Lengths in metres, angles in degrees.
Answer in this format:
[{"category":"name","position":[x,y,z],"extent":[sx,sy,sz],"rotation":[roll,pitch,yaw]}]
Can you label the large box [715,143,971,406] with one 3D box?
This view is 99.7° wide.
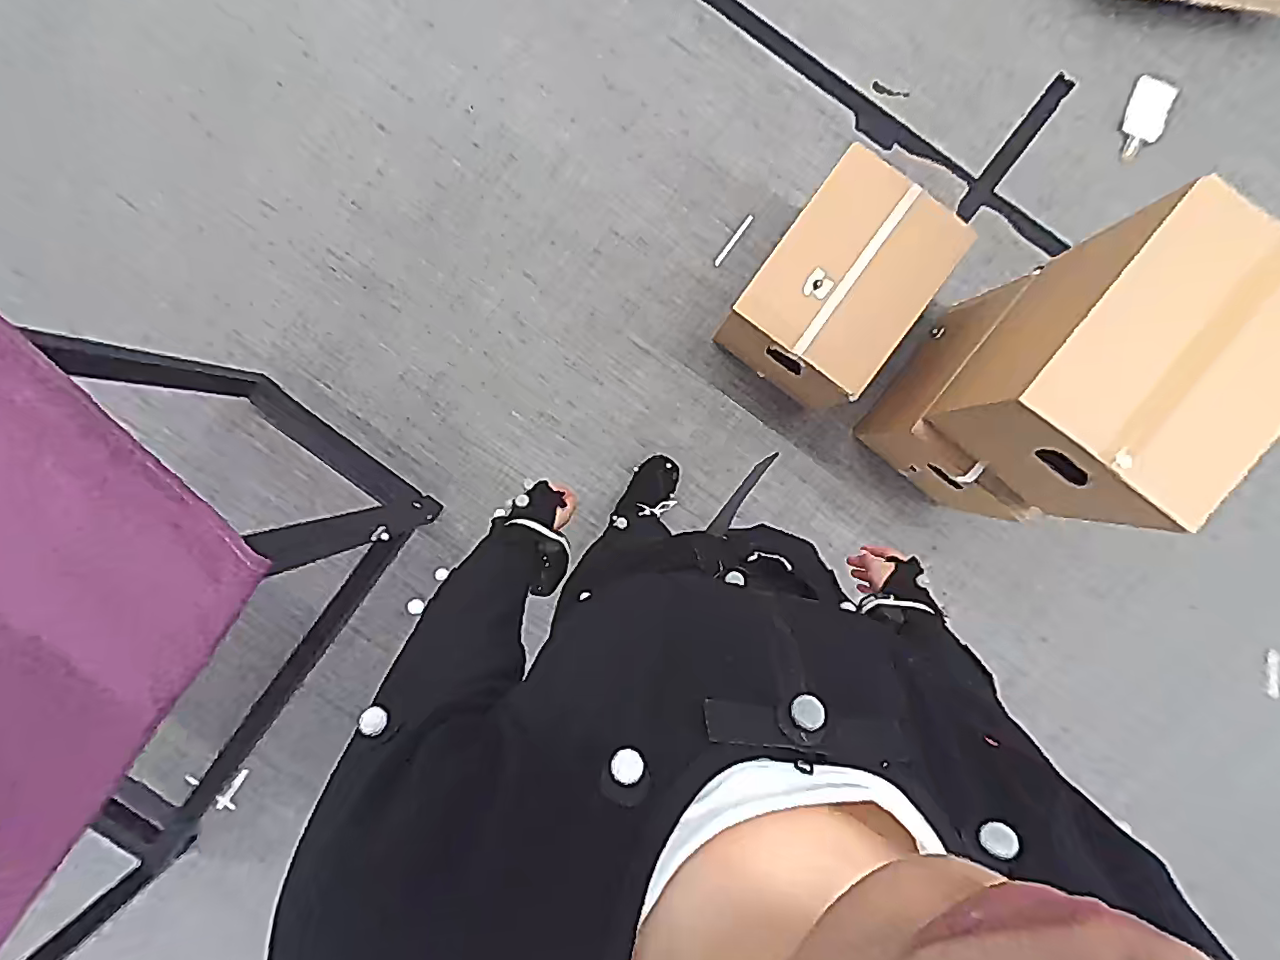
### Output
[{"category":"large box","position":[0.420,-0.422,1.214],"extent":[0.320,0.320,0.408],"rotation":[36,94,-1]}]
